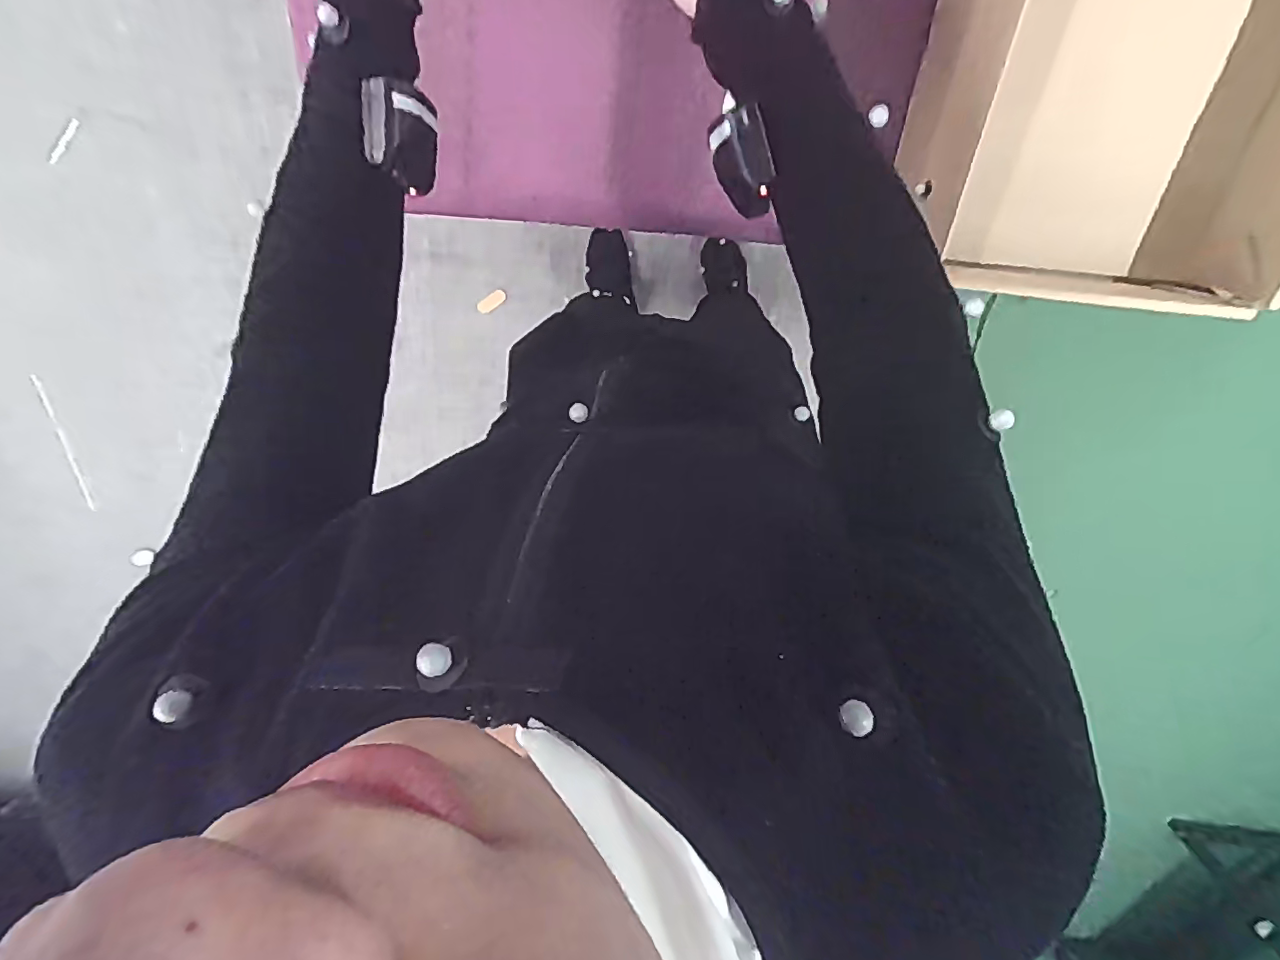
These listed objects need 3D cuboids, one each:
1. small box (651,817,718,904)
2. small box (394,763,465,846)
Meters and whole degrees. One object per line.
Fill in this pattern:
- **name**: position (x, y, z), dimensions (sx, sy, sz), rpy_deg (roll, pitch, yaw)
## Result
- **small box**: position (0.147, 1.262, 1.799), dimensions (0.179, 0.176, 0.168), rpy_deg (-20, 117, 10)
- **small box**: position (-0.747, 1.158, 1.935), dimensions (0.168, 0.176, 0.179), rpy_deg (24, 114, -12)
